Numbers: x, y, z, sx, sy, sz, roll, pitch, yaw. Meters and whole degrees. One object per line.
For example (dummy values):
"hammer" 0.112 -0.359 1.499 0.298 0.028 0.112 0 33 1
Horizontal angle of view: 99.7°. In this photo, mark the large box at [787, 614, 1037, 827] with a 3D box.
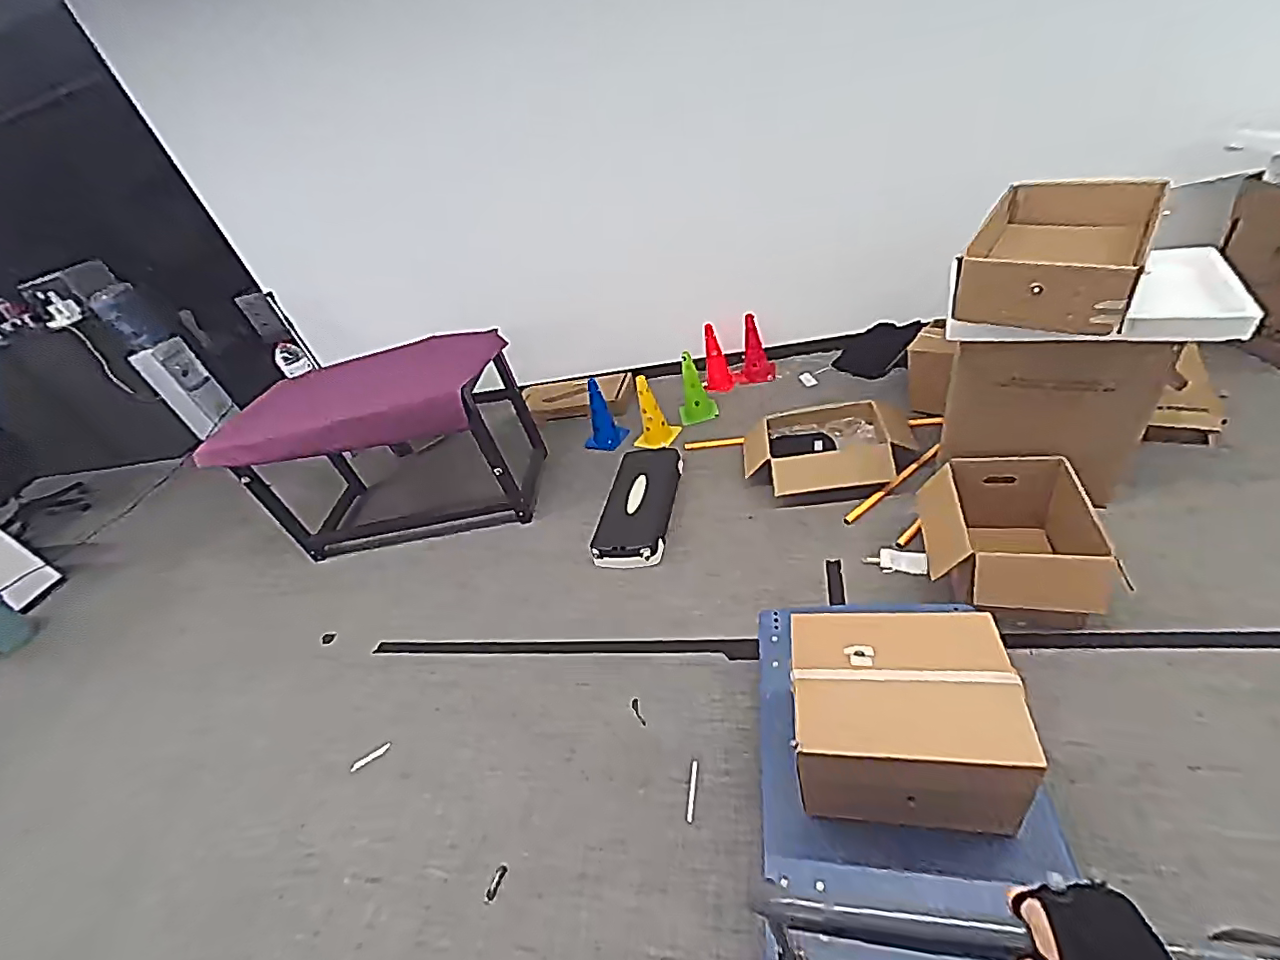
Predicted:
"large box" 0.545 0.515 1.166 0.408 0.320 0.320 -6 37 17
